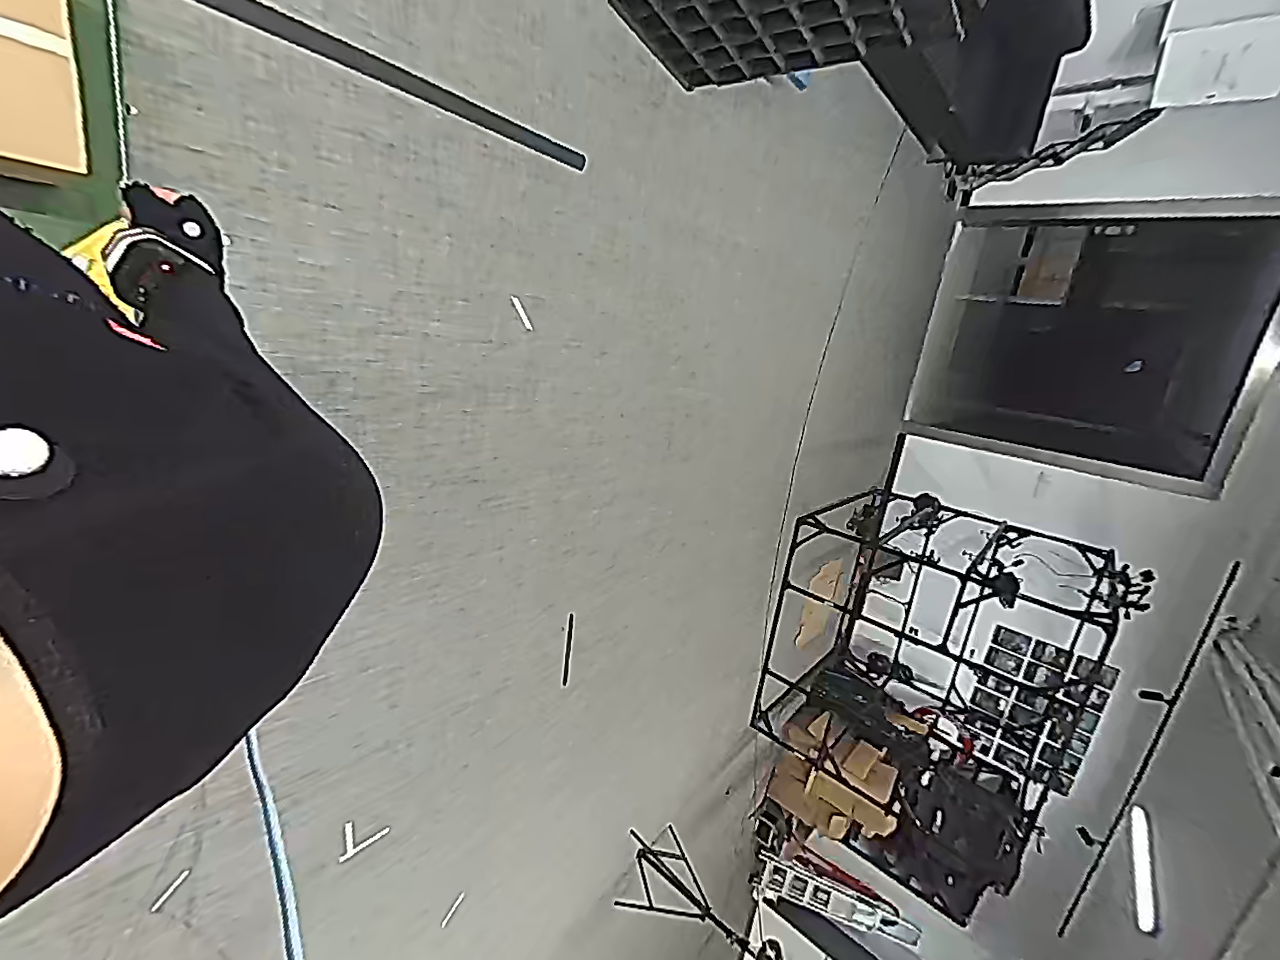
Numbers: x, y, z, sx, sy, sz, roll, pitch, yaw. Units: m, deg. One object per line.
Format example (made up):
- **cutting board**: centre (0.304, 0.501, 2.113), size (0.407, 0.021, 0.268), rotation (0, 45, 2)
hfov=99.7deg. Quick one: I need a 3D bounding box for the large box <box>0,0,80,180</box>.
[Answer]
- **large box**: centre (-1.046, -0.613, 0.688), size (0.408, 0.320, 0.320), rotation (-12, 115, -51)
